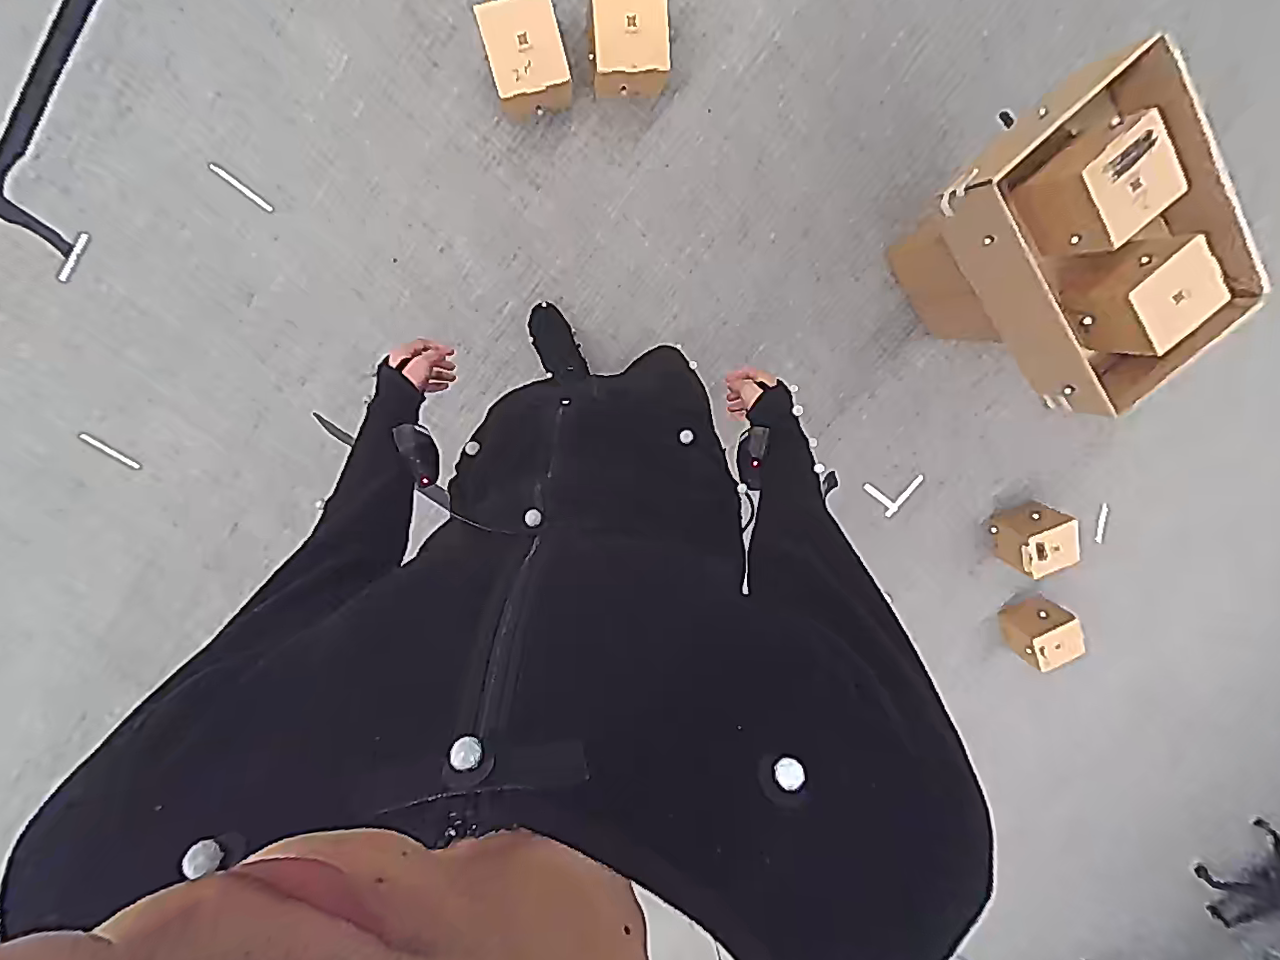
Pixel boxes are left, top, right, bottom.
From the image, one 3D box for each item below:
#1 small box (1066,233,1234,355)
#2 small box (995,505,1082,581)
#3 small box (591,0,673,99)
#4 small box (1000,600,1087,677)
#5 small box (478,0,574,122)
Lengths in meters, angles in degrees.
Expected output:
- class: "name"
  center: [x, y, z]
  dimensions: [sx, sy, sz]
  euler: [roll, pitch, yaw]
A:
- class: "small box"
  center: [1.071, -0.387, 1.148]
  dimensions: [0.179, 0.176, 0.168]
  euler: [-43, 107, 4]
- class: "small box"
  center: [1.330, 0.208, 1.817]
  dimensions: [0.179, 0.176, 0.168]
  euler: [-21, 109, 0]
- class: "small box"
  center: [-0.023, -1.017, 1.254]
  dimensions: [0.168, 0.176, 0.179]
  euler: [-7, 110, -5]
- class: "small box"
  center: [1.449, 0.562, 1.947]
  dimensions: [0.179, 0.176, 0.168]
  euler: [-27, 109, 1]
- class: "small box"
  center: [-0.254, -0.962, 1.240]
  dimensions: [0.168, 0.176, 0.179]
  euler: [-16, 110, -1]
